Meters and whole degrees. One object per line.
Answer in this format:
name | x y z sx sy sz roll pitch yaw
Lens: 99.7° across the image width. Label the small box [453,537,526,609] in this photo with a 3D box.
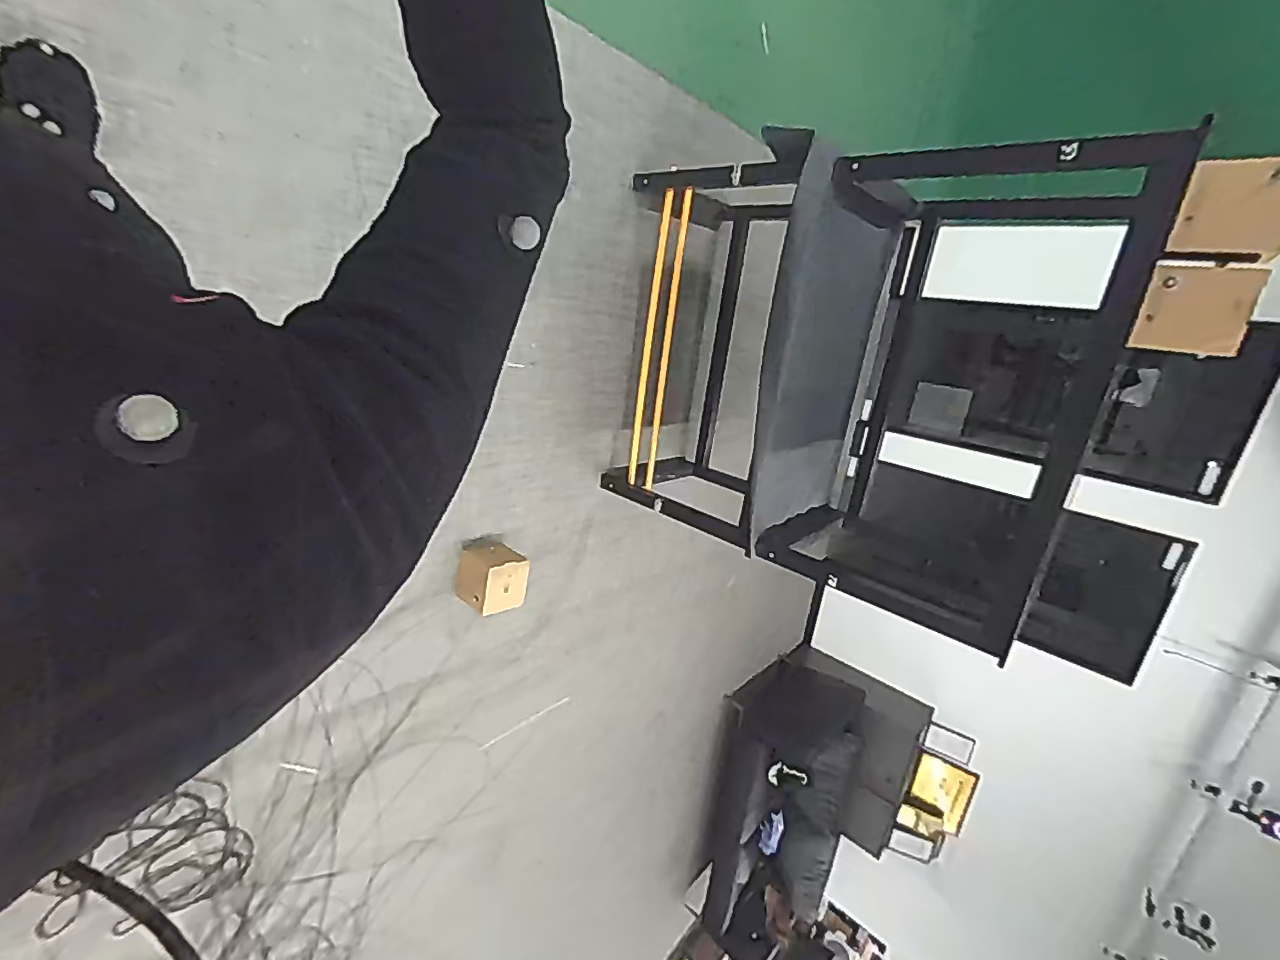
small box | -0.518 0.312 1.850 0.168 0.176 0.179 -4 110 -50
